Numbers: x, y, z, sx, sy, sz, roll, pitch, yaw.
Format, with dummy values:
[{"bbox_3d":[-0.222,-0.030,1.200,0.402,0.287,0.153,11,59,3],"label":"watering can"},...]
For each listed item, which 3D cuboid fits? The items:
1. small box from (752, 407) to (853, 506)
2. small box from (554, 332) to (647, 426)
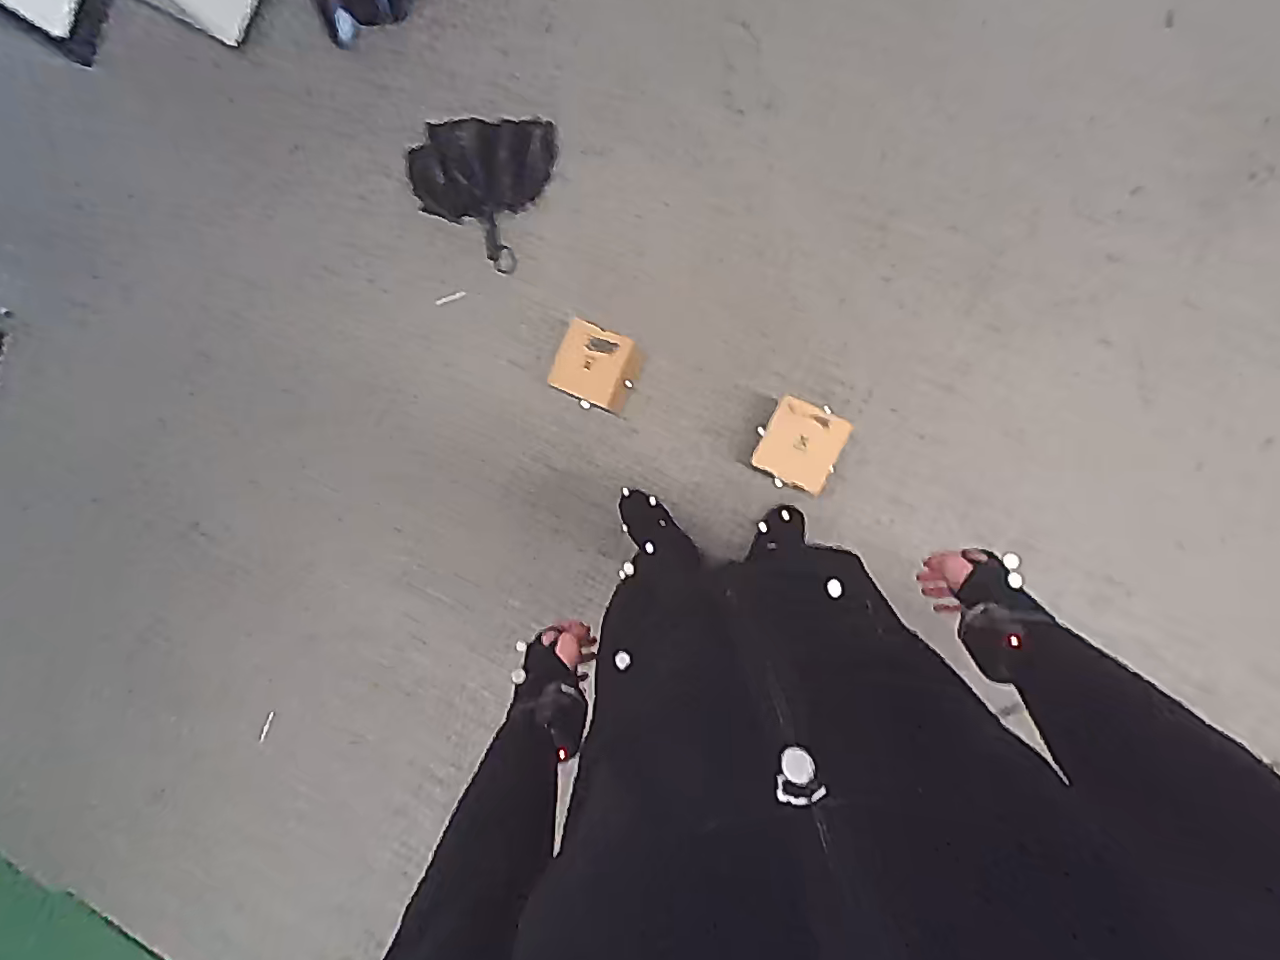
[{"bbox_3d":[0.383,-0.054,1.291,0.168,0.176,0.179,27,96,11],"label":"small box"},{"bbox_3d":[-0.091,-0.252,1.389,0.168,0.176,0.179,24,96,11],"label":"small box"}]
